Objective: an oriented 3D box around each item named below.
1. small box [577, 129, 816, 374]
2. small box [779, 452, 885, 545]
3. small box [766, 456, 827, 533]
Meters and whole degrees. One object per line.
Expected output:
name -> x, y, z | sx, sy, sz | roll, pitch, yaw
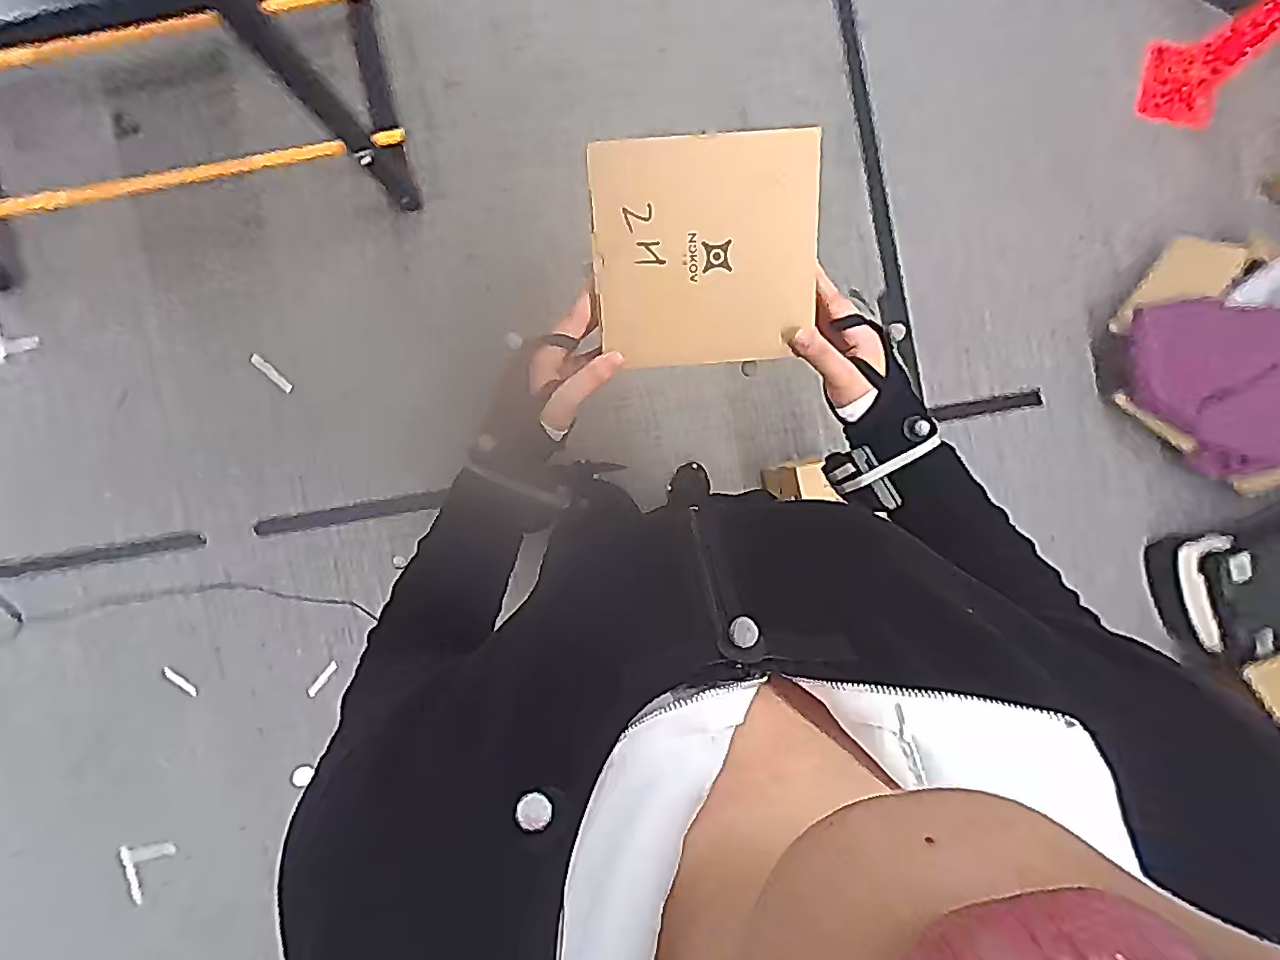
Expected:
small box -> 0.043, -0.193, 0.486 | 0.179, 0.176, 0.168 | -5, 107, 0
small box -> 0.434, 0.037, 1.246 | 0.168, 0.176, 0.179 | -13, 93, 0
small box -> 0.438, 0.035, 1.412 | 0.179, 0.176, 0.168 | -13, 93, 1
